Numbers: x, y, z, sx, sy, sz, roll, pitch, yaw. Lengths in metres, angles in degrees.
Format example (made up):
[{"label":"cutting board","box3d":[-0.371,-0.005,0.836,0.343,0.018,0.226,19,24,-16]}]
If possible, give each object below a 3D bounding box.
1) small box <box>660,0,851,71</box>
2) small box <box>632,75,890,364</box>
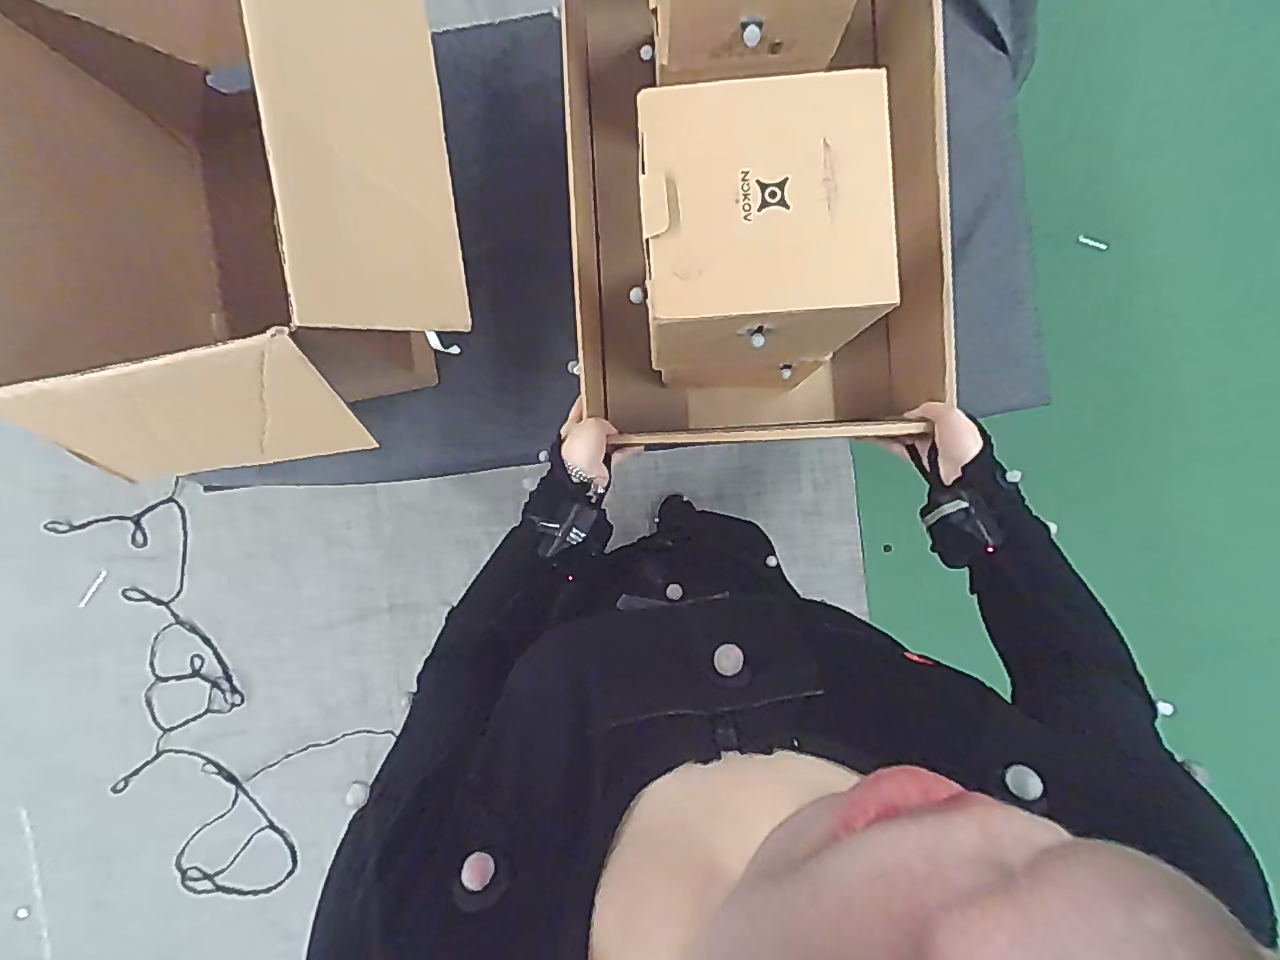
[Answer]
[{"label":"small box","box3d":[0.098,-0.494,0.453,0.168,0.176,0.179,-3,92,2]},{"label":"small box","box3d":[0.089,-0.200,0.464,0.179,0.176,0.168,-4,91,1]}]
